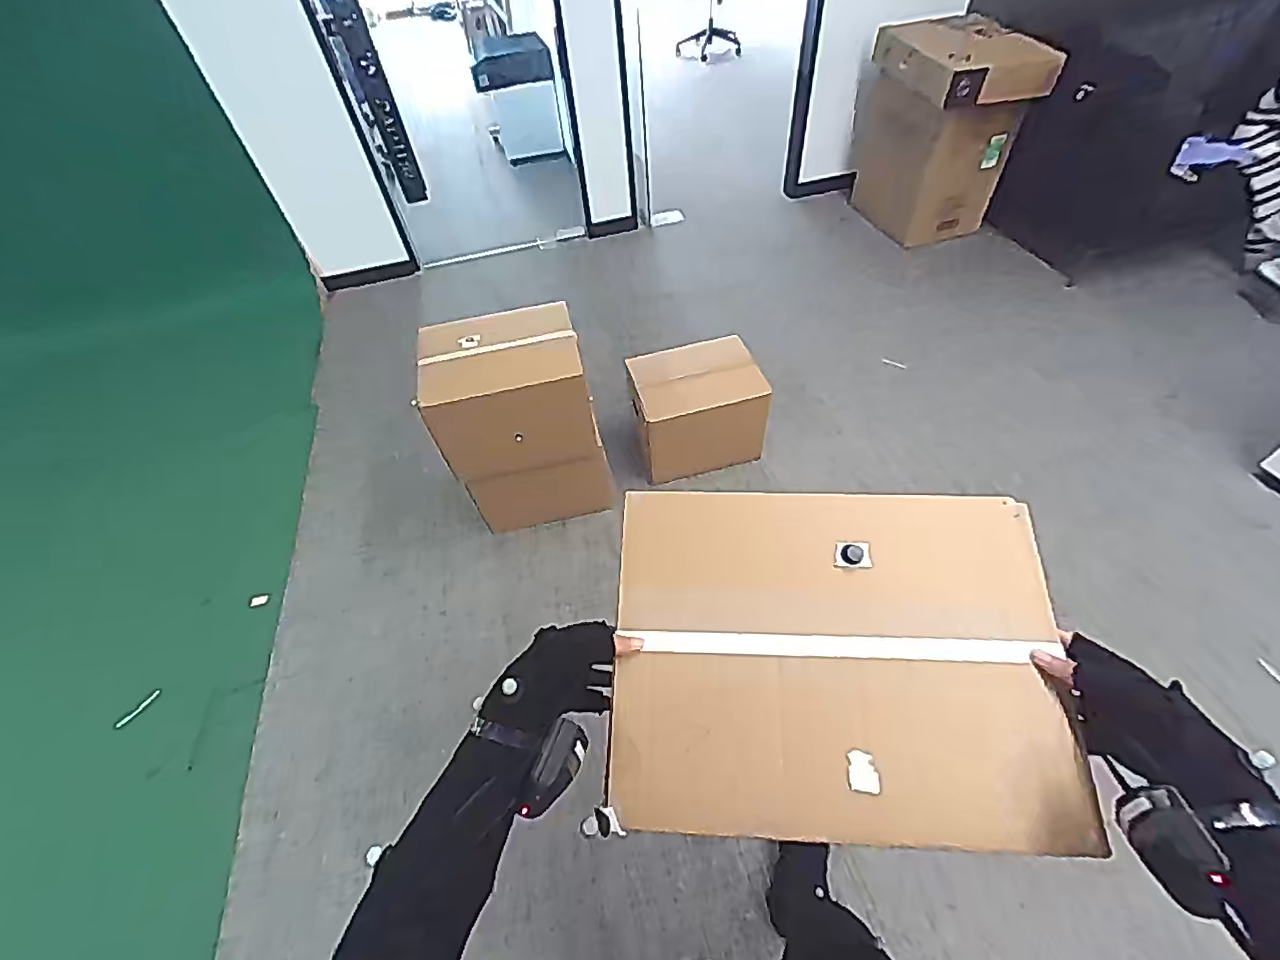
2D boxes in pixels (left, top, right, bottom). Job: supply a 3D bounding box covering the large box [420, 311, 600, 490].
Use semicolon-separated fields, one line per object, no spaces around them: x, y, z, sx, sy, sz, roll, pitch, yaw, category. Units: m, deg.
-0.350;-0.216;1.501;0.408;0.320;0.320;-13;52;-4;large box
